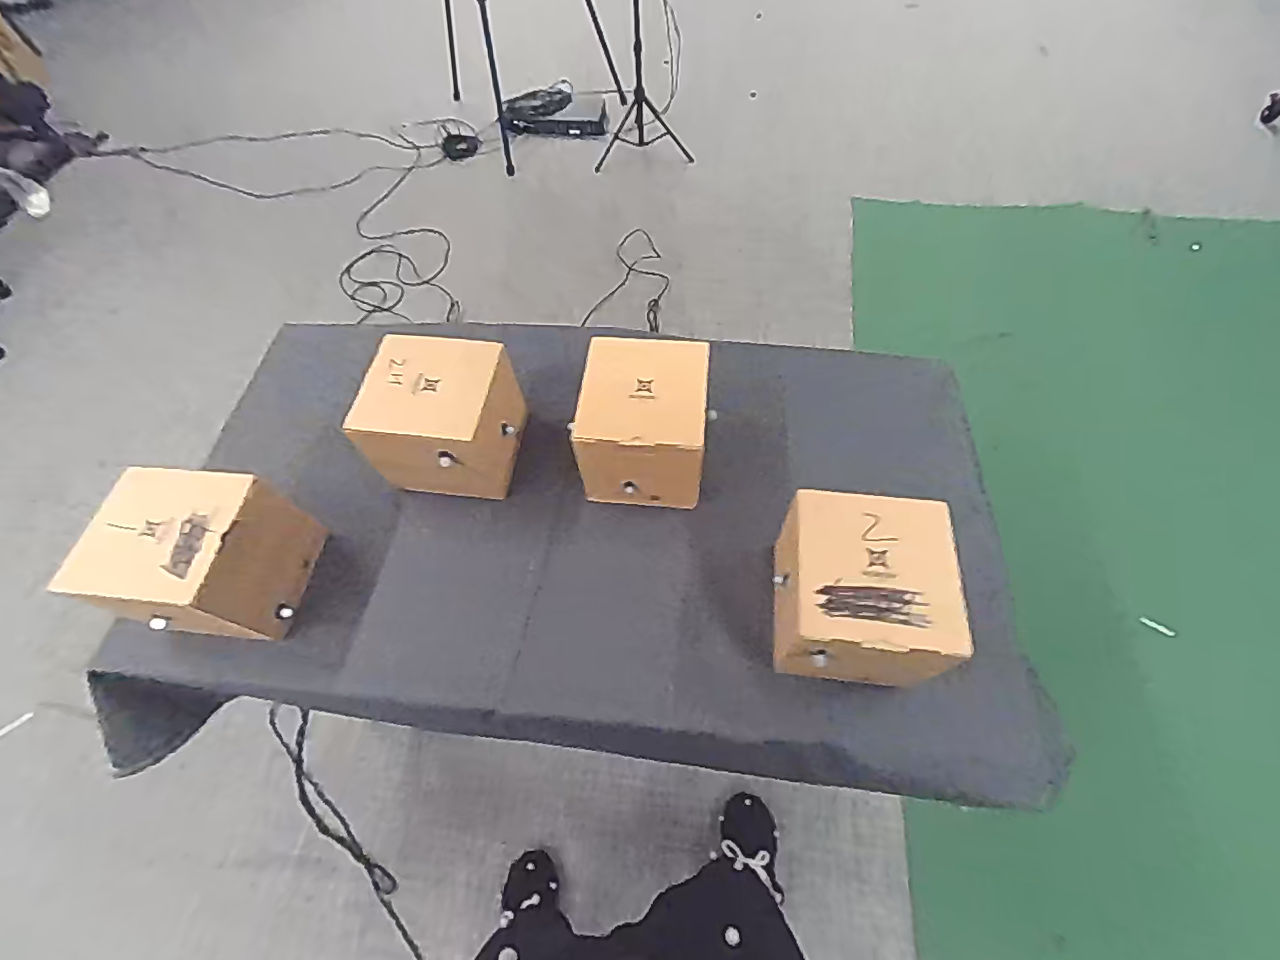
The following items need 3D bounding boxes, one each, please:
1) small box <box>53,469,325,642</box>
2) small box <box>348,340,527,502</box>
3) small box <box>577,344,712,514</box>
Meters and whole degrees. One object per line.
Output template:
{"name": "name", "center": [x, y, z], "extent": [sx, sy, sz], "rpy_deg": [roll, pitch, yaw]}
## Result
{"name": "small box", "center": [-0.554, 0.104, 0.699], "extent": [0.179, 0.176, 0.168], "rpy_deg": [4, 60, 5]}
{"name": "small box", "center": [-0.278, -0.080, 0.795], "extent": [0.179, 0.176, 0.168], "rpy_deg": [6, 61, 5]}
{"name": "small box", "center": [0.011, -0.071, 0.782], "extent": [0.168, 0.176, 0.179], "rpy_deg": [4, 61, 5]}
